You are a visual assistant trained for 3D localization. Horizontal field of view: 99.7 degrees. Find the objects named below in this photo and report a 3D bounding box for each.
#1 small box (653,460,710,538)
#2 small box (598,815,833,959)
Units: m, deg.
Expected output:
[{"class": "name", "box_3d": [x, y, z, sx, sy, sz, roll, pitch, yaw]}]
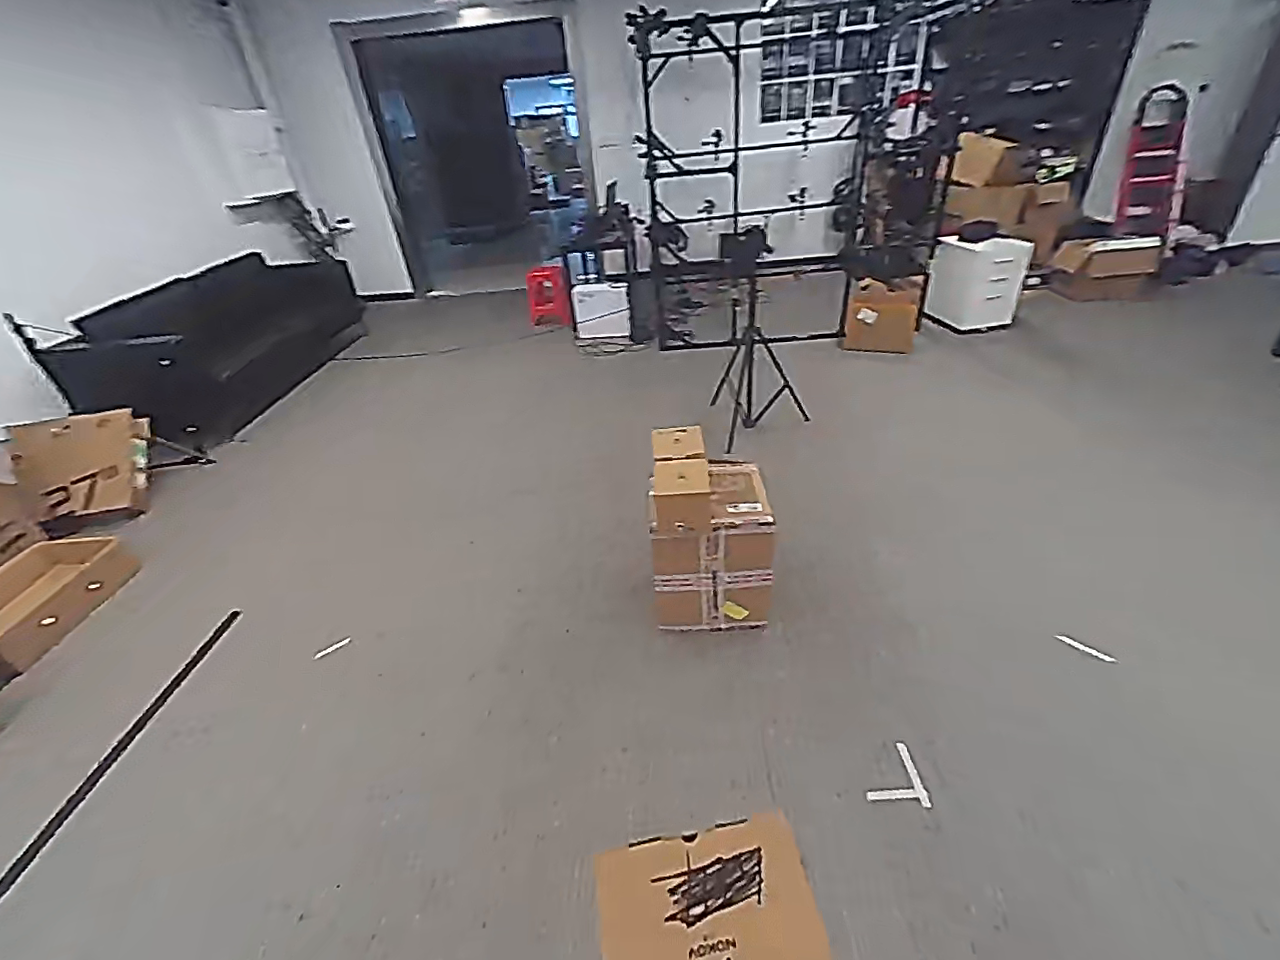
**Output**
[{"class": "small box", "box_3d": [0.128, 0.058, 1.668, 0.168, 0.176, 0.179, -4, 37, 5]}, {"class": "small box", "box_3d": [0.059, 0.410, 0.436, 0.168, 0.176, 0.179, -8, 39, -5]}]
